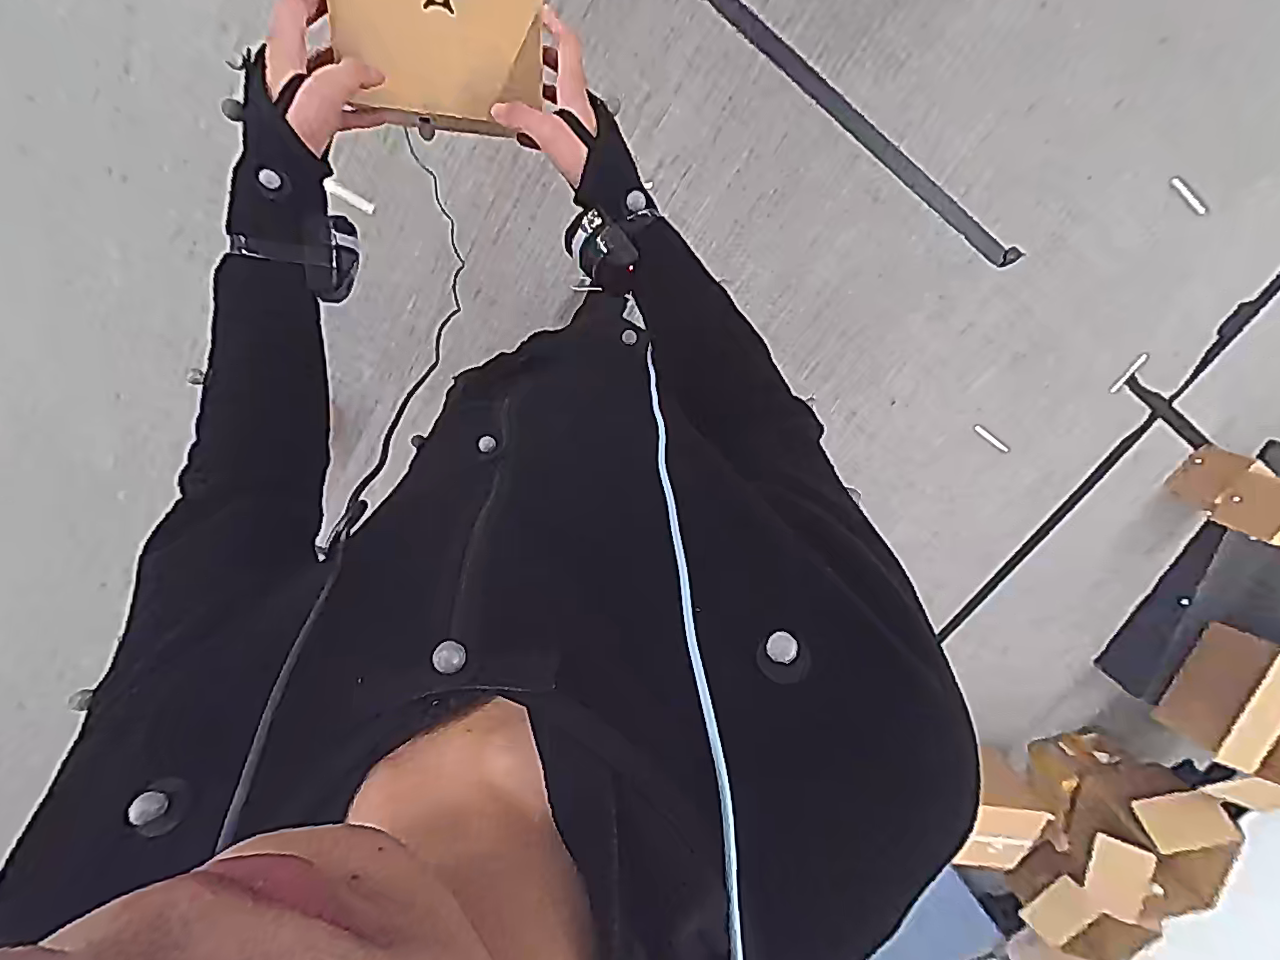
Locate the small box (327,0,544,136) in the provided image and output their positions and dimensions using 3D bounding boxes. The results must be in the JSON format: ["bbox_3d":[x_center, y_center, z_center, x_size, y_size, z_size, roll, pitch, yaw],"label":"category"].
[{"bbox_3d":[-0.174,-0.424,0.485,0.168,0.176,0.179,-2,117,-15],"label":"small box"}]
